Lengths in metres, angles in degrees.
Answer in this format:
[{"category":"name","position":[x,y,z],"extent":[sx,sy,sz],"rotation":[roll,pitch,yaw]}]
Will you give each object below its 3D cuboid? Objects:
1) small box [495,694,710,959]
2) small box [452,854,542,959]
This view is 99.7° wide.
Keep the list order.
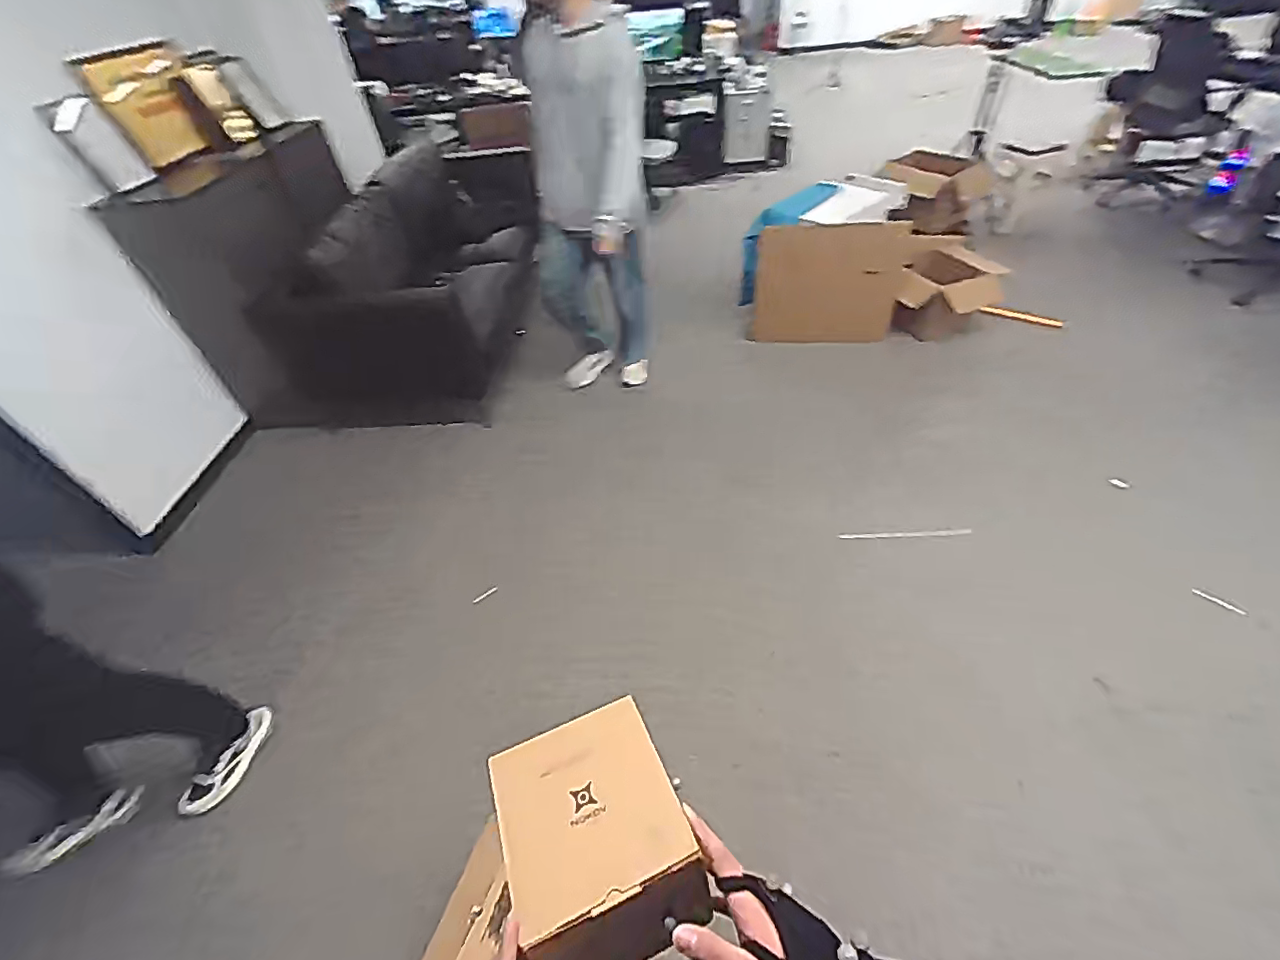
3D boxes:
[{"category":"small box","position":[-0.037,0.370,0.565],"extent":[0.168,0.176,0.179],"rotation":[-19,35,-12]},{"category":"small box","position":[-0.198,0.816,0.971],"extent":[0.179,0.176,0.168],"rotation":[14,49,17]}]
